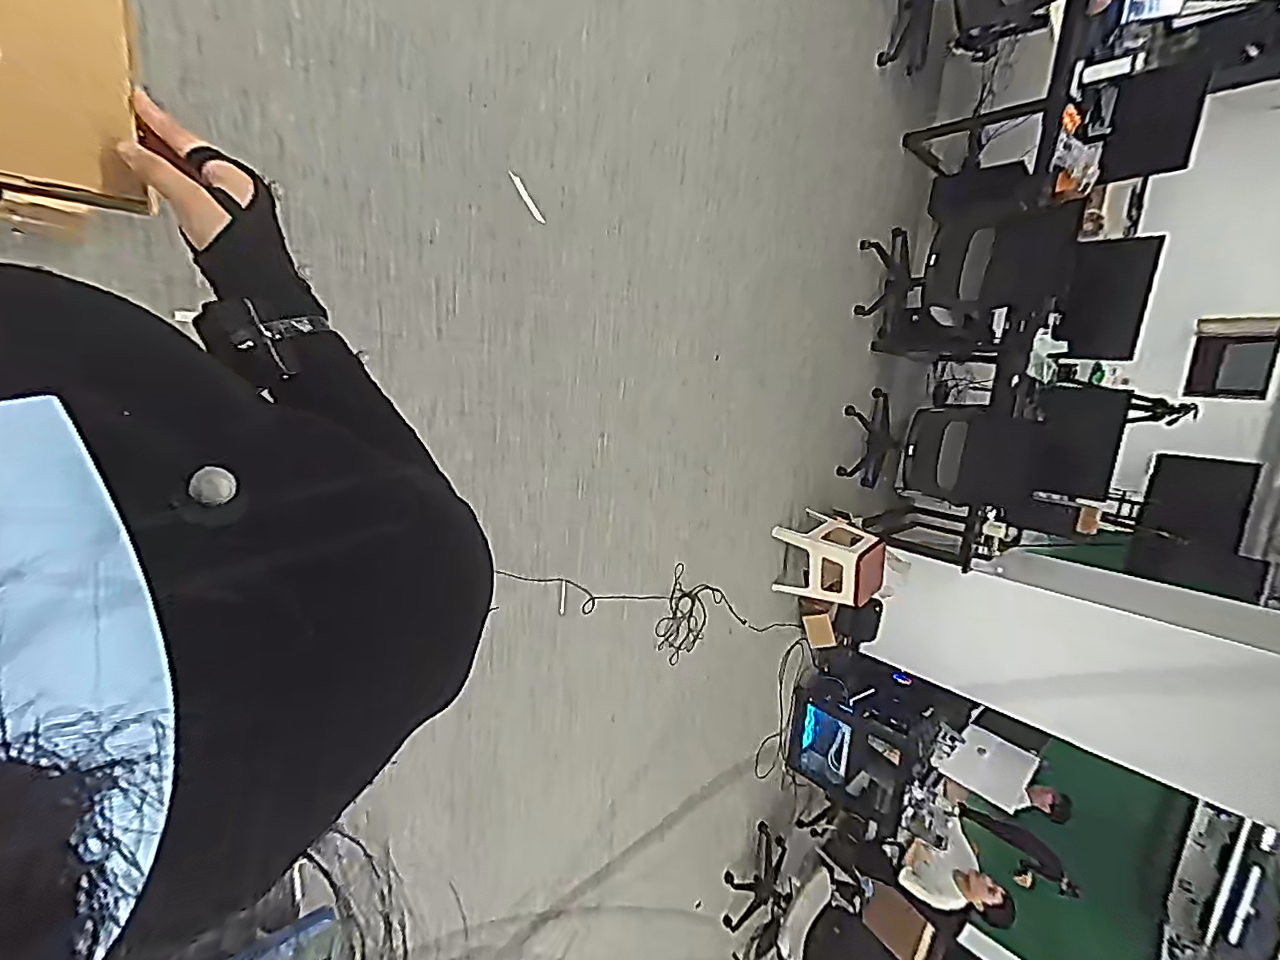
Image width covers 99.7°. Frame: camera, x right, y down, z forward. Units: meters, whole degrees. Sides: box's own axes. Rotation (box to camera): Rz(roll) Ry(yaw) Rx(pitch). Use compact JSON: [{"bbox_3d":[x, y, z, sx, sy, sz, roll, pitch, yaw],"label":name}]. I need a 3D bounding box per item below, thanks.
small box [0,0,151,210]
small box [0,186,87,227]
[{"bbox_3d":[-0.468,-0.308,0.385,0.168,0.176,0.179,-5,112,-39],"label":"small box"},{"bbox_3d":[-0.923,-0.490,0.784,0.168,0.176,0.179,0,101,-43],"label":"small box"}]
